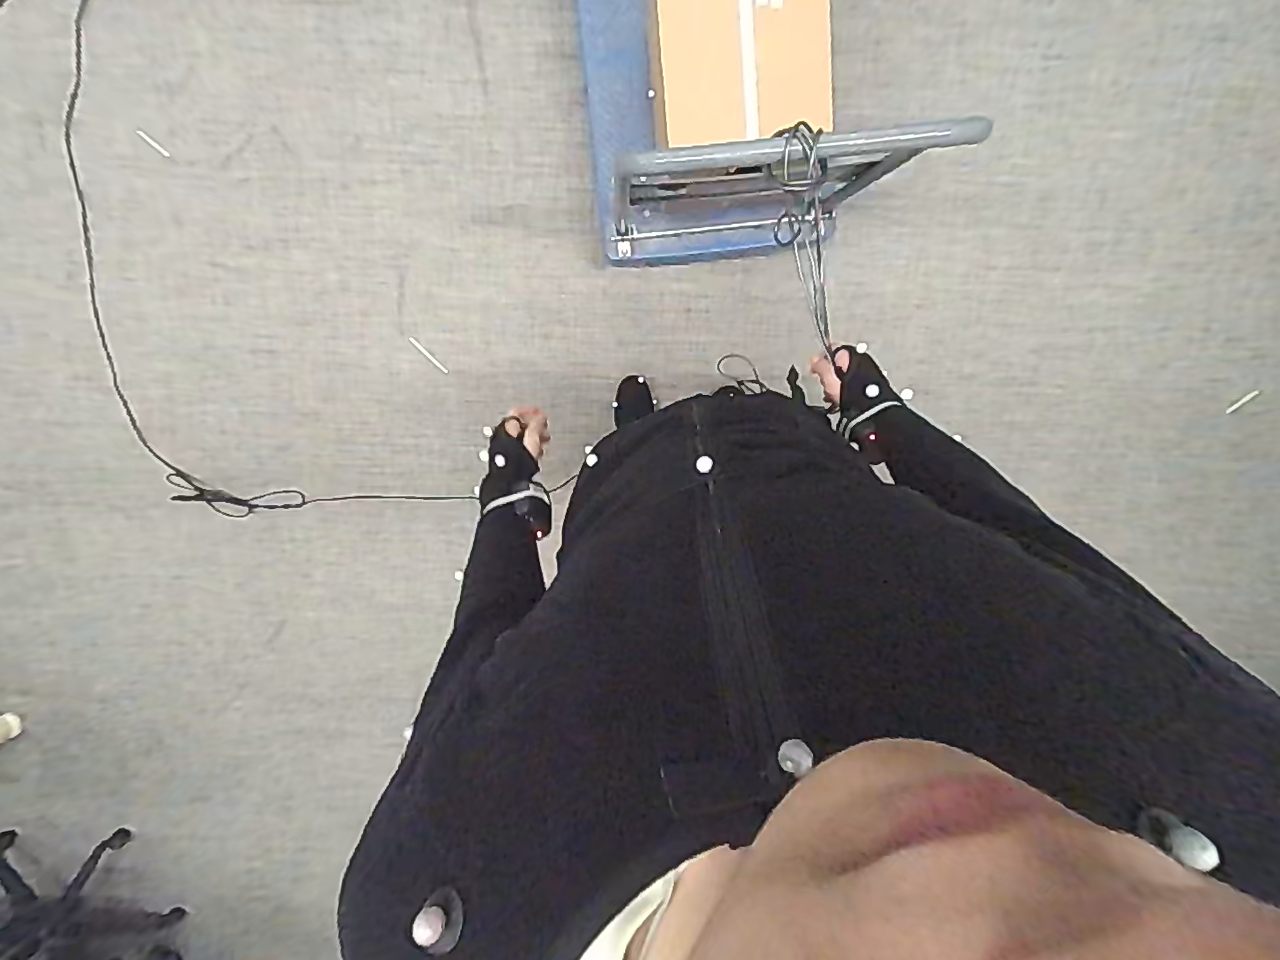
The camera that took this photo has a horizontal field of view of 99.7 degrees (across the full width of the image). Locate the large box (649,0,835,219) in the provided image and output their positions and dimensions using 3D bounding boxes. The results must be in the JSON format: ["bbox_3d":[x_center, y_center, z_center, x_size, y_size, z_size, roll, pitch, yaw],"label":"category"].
[{"bbox_3d":[0.191,-0.813,1.125,0.320,0.320,0.408,-6,101,0],"label":"large box"}]
